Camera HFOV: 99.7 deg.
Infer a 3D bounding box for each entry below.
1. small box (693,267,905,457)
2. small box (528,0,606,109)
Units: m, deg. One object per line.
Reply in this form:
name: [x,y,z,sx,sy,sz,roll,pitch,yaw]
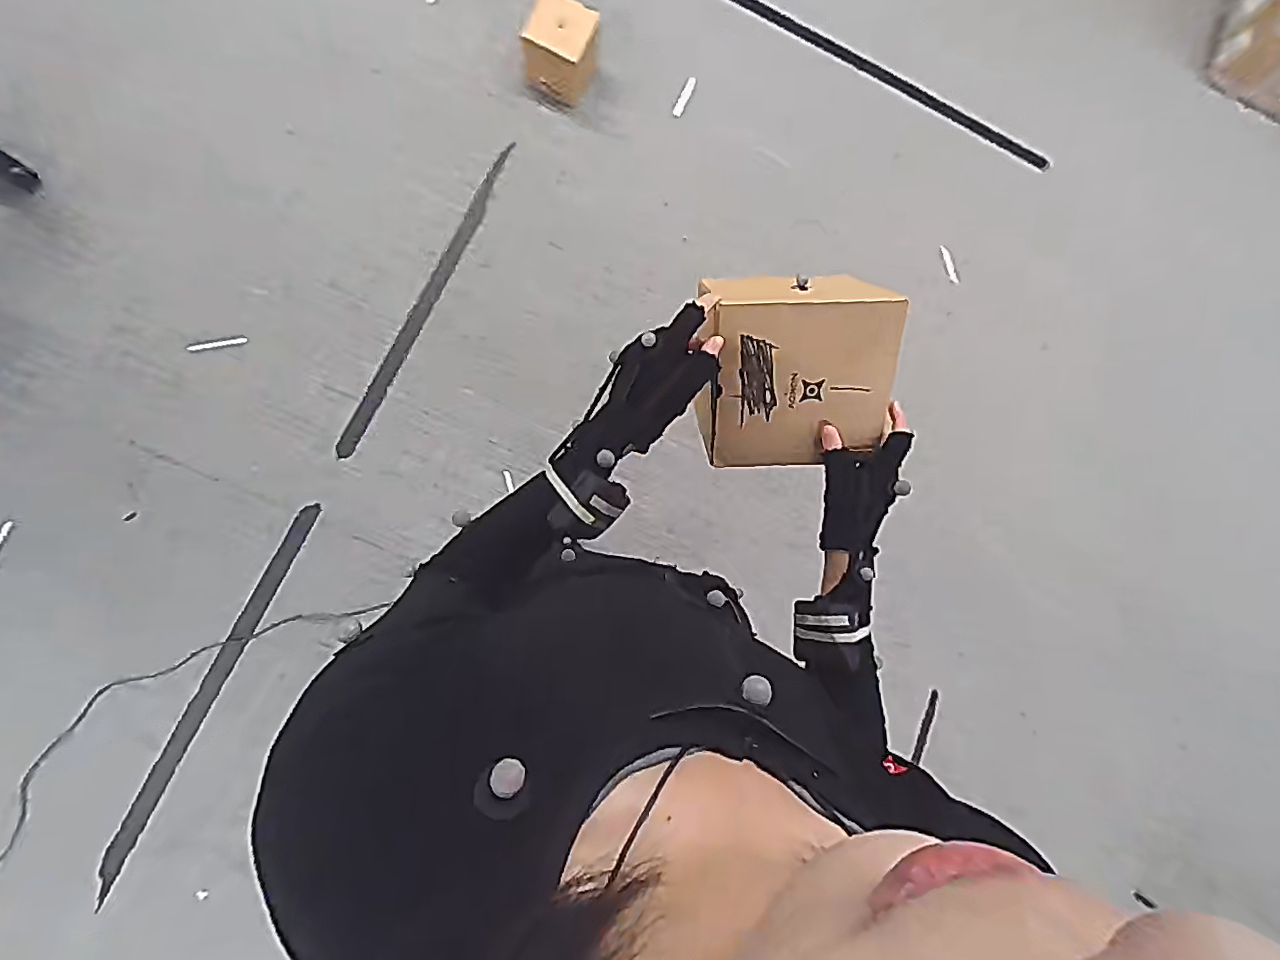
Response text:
small box: [0.152,-0.135,0.590,0.179,0.176,0.168,-2,118,0]
small box: [-0.214,-1.248,1.578,0.168,0.176,0.179,24,82,-4]
